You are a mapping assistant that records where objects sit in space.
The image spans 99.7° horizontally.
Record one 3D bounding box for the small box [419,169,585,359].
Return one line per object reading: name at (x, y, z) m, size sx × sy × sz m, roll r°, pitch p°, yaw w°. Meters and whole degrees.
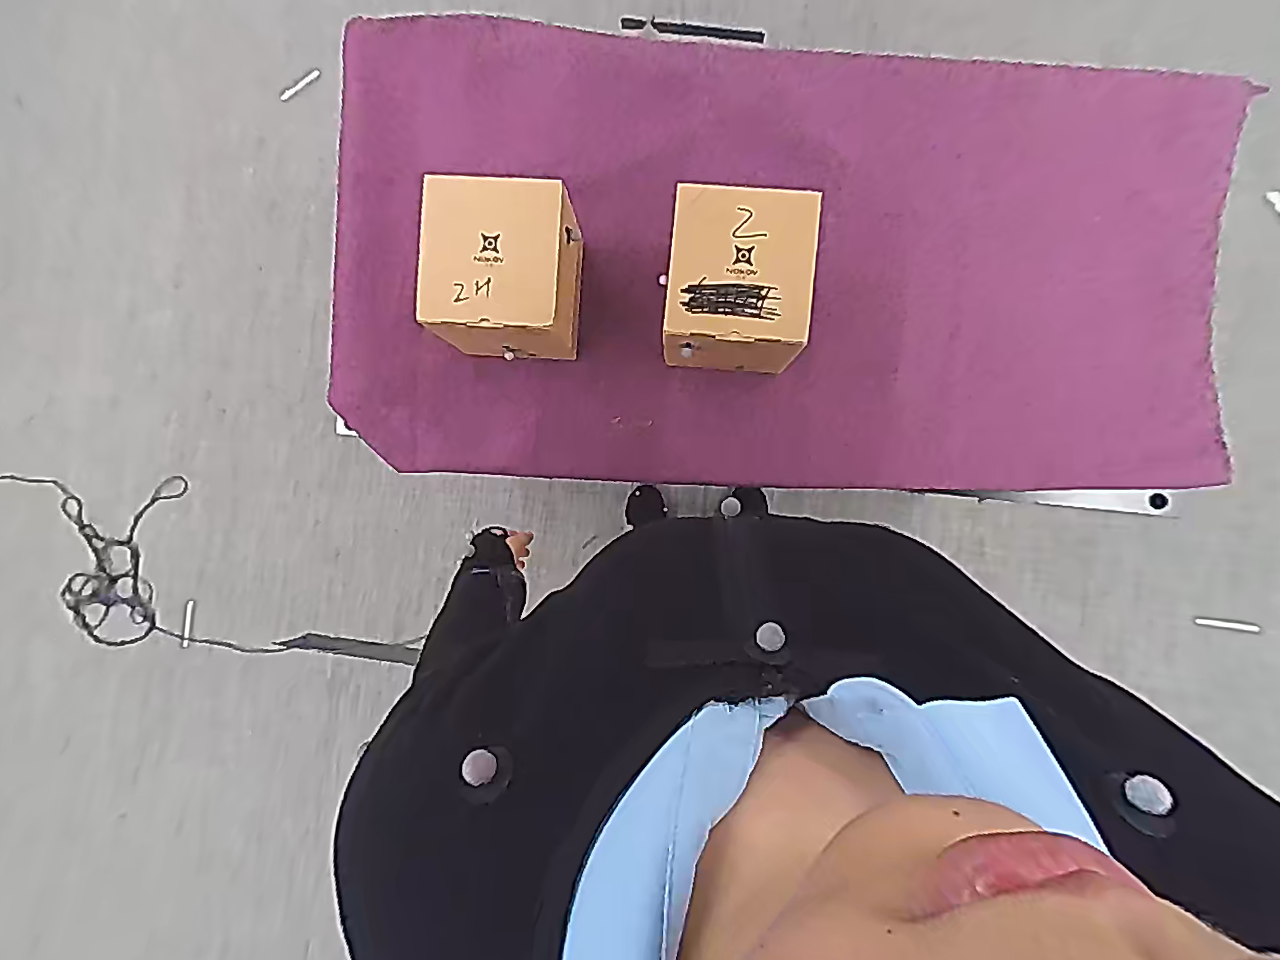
small box at (-0.166, -0.267, 0.701) m, size 0.168 × 0.176 × 0.179 m, roll 3°, pitch 91°, yaw 2°
